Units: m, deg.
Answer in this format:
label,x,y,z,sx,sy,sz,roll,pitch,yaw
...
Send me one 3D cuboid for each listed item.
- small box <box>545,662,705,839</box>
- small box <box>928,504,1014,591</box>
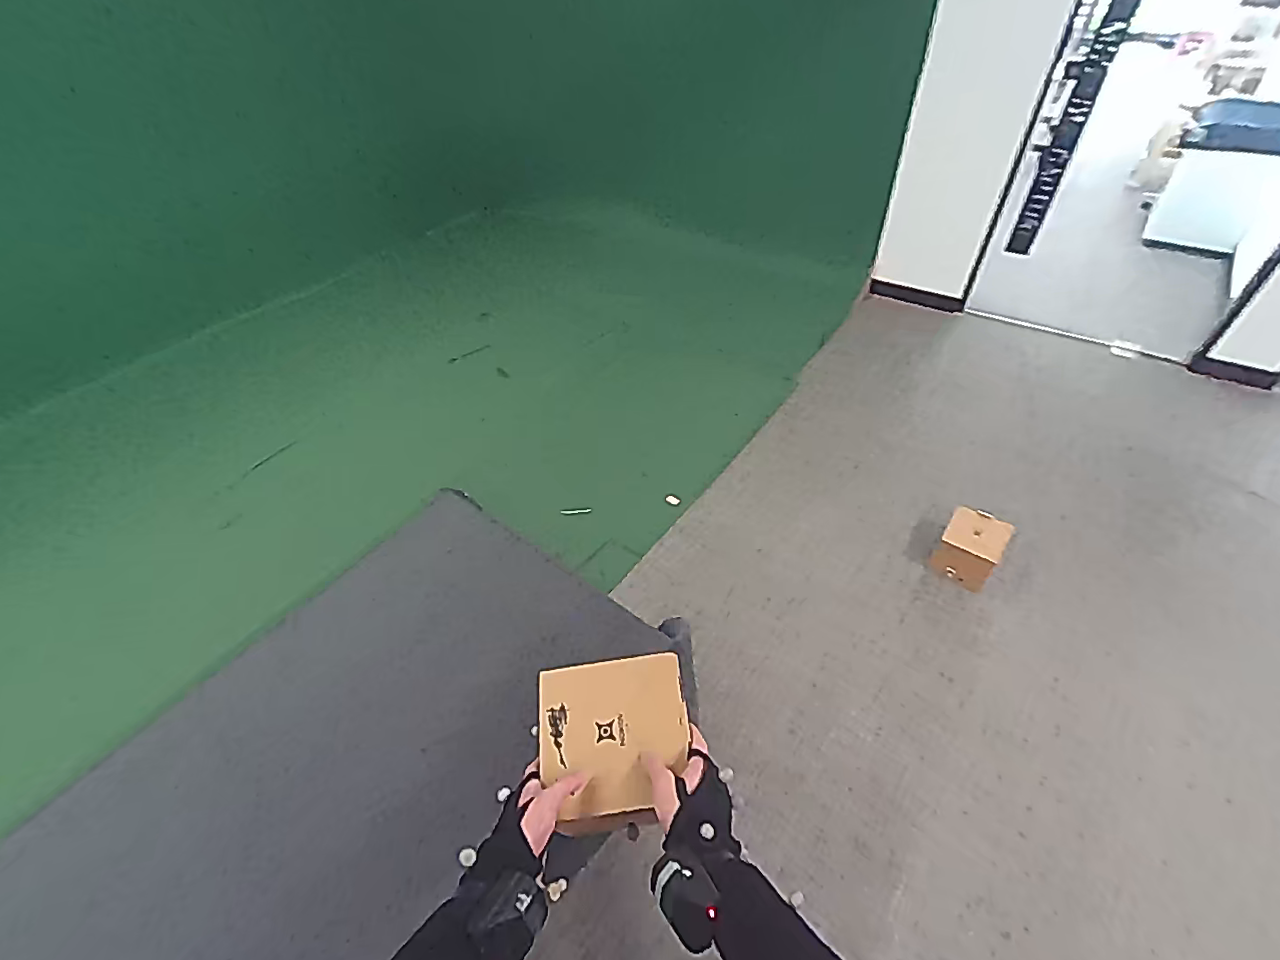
label,x,y,z,sx,sy,sz,roll,pitch,yaw
small box,-0.018,0.348,0.690,0.179,0.176,0.168,-7,52,0
small box,1.044,0.215,1.719,0.168,0.176,0.179,28,56,31
